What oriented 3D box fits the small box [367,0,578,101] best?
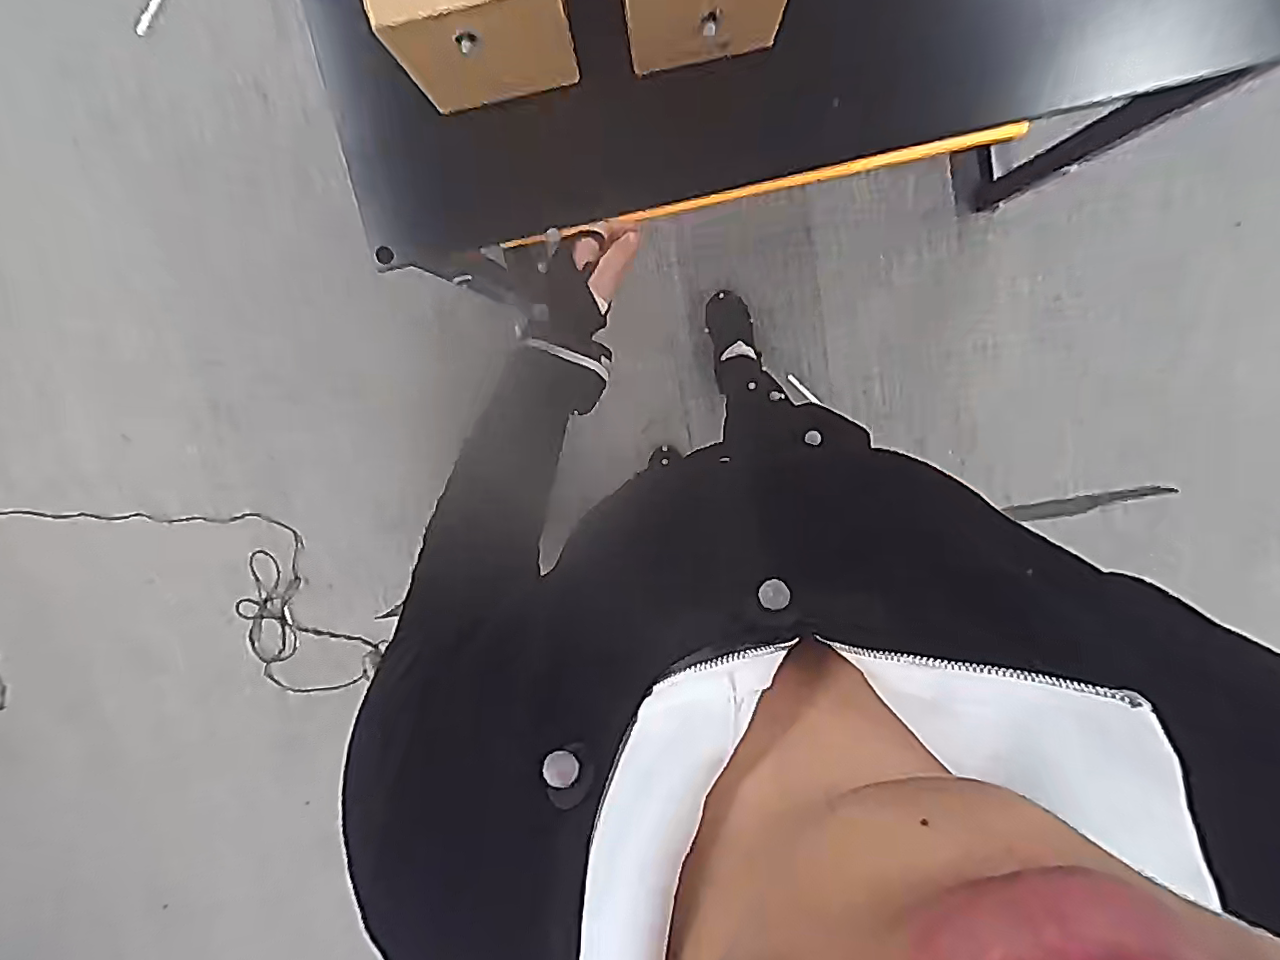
[{"bbox_3d":[-0.174,-0.531,0.559,0.179,0.176,0.168,-10,101,4],"label":"small box"}]
